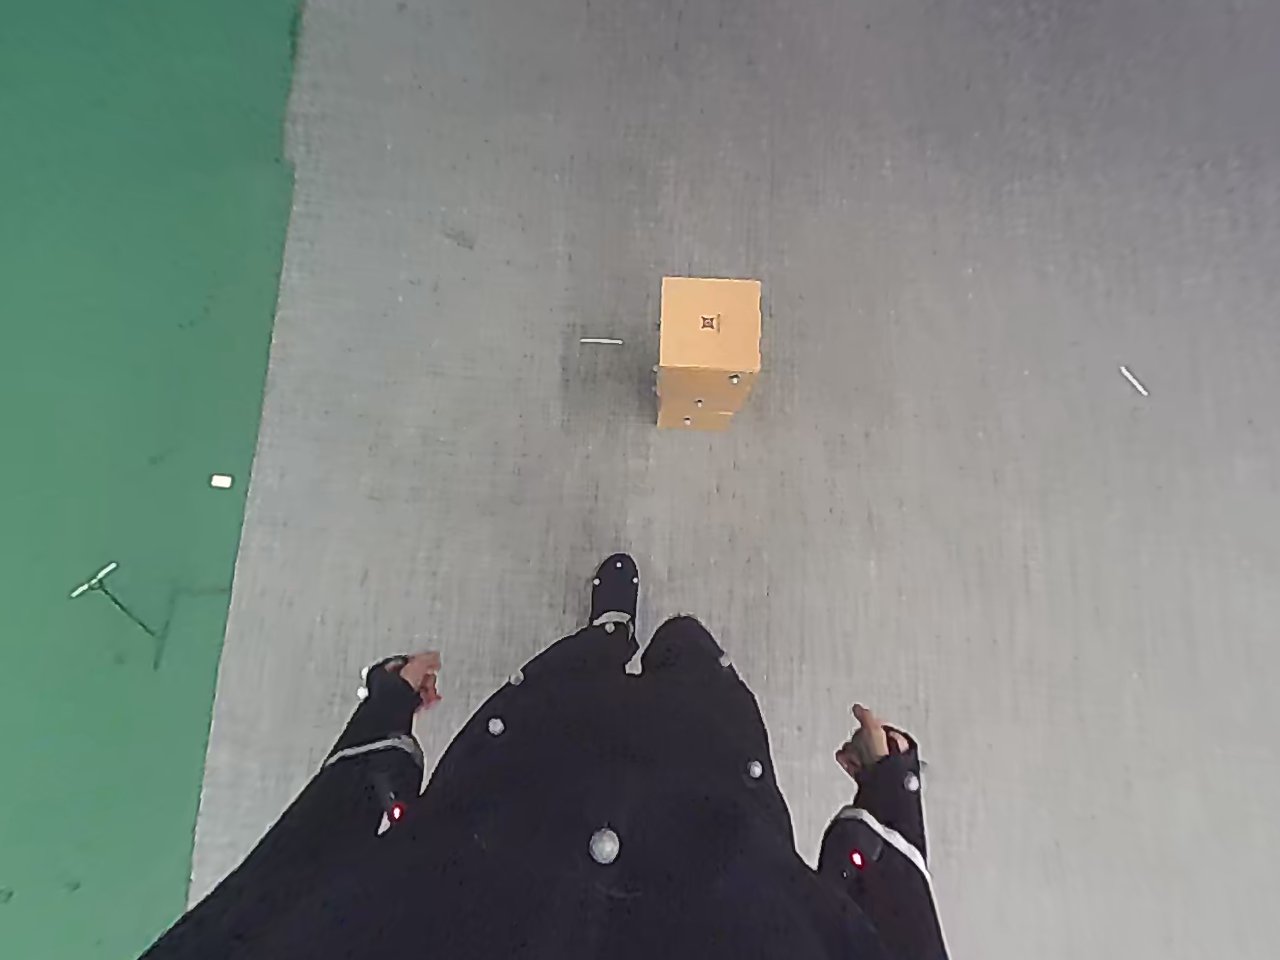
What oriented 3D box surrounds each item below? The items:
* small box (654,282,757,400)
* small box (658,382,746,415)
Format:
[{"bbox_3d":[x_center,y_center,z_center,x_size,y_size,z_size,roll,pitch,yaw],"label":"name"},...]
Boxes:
[{"bbox_3d":[0.118,-0.256,1.029,0.179,0.176,0.168,2,81,-1],"label":"small box"},{"bbox_3d":[0.130,-0.244,1.192,0.179,0.176,0.168,0,81,1],"label":"small box"}]
